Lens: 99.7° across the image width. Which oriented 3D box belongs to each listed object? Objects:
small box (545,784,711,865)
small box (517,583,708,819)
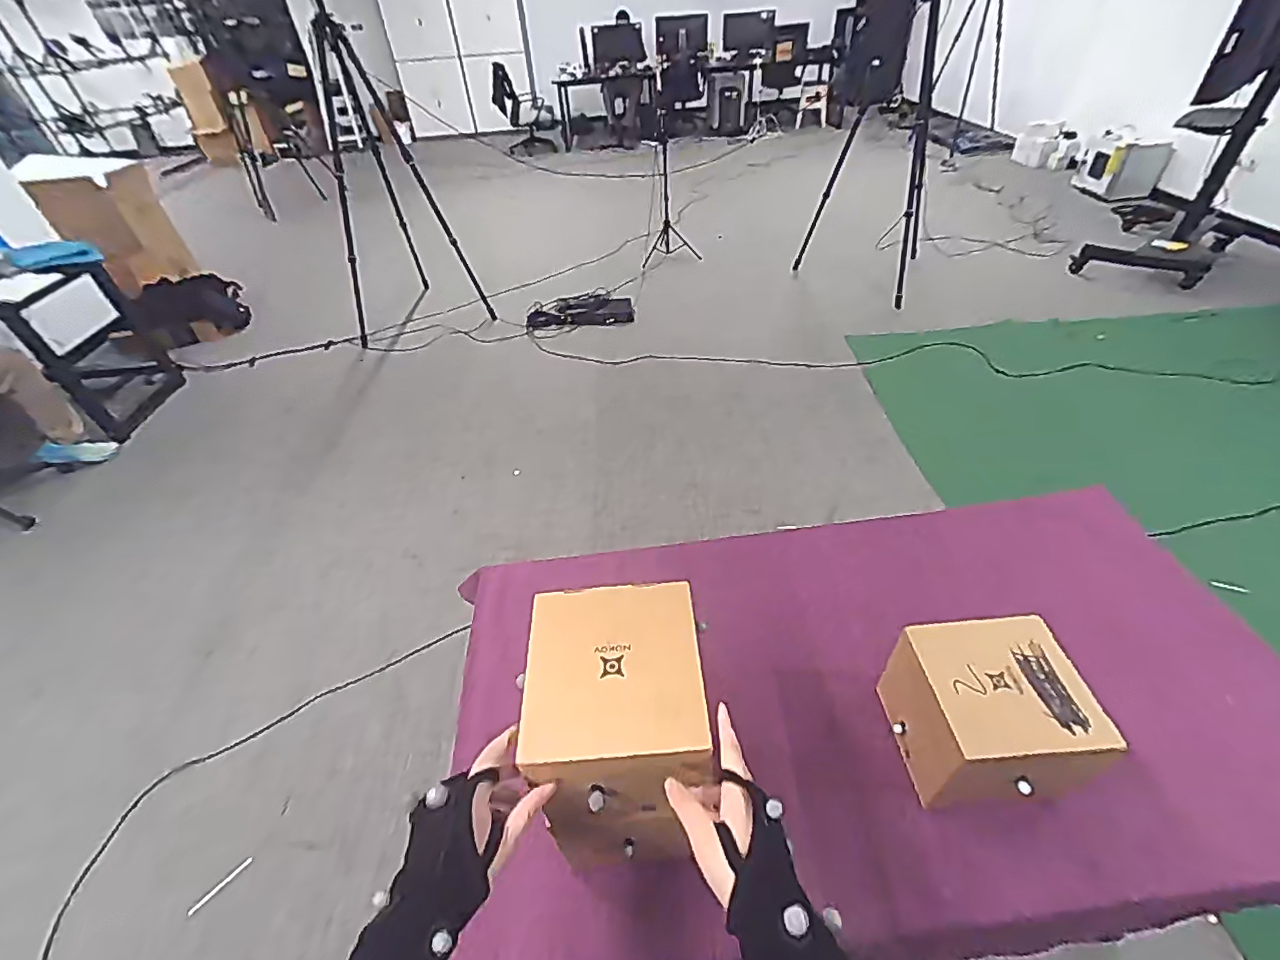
[{"bbox_3d":[-0.012,0.355,0.670,0.179,0.176,0.168,-6,42,0],"label":"small box"},{"bbox_3d":[-0.020,0.233,0.564,0.168,0.176,0.179,-5,41,0],"label":"small box"}]
